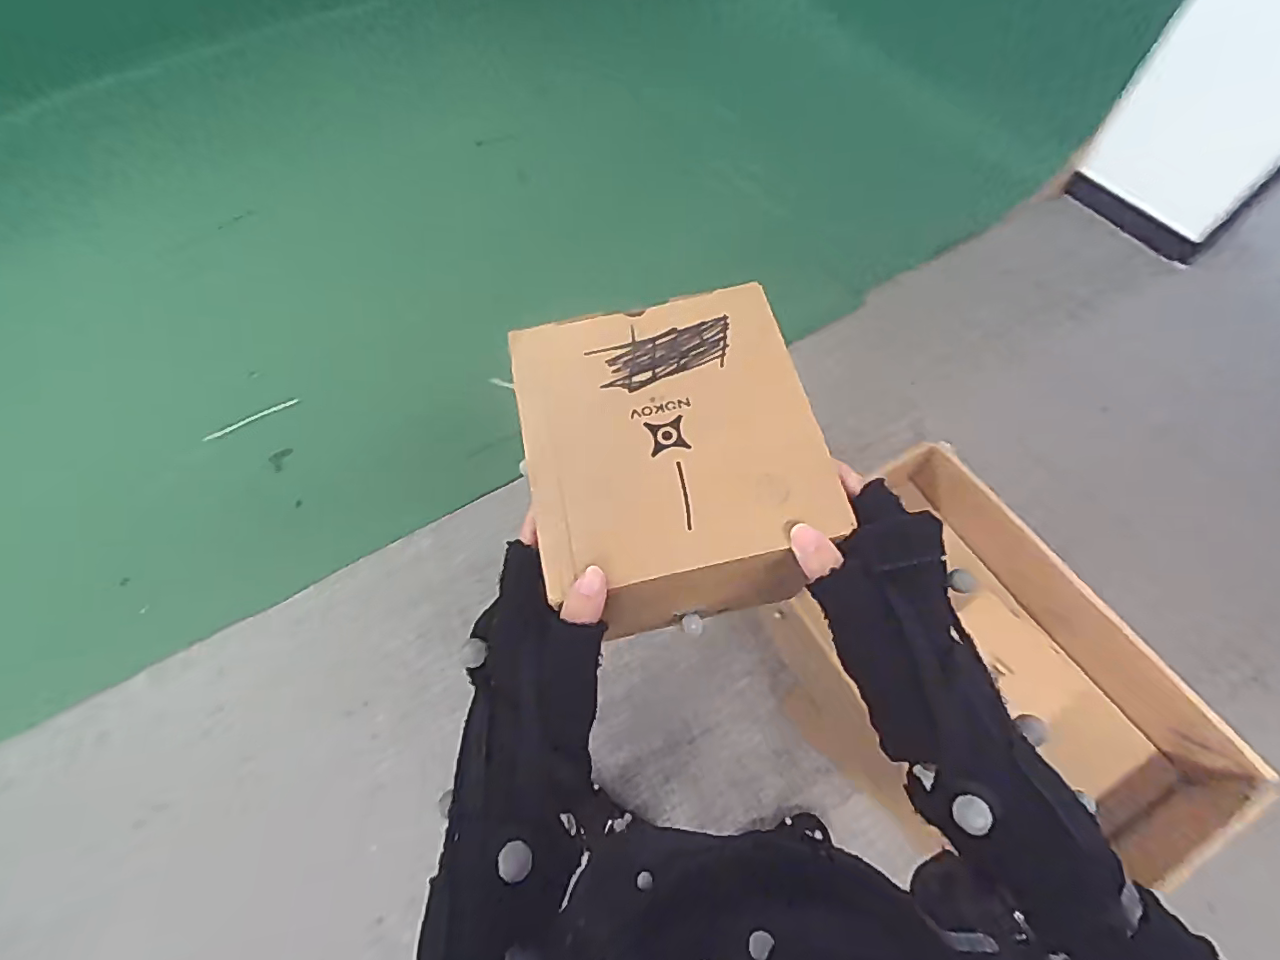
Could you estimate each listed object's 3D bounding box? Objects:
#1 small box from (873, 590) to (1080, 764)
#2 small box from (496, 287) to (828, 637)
[{"bbox_3d":[0.489,0.299,0.818,0.179,0.176,0.168,-34,64,-12],"label":"small box"},{"bbox_3d":[0.008,-0.001,0.390,0.168,0.176,0.179,-14,66,-2],"label":"small box"}]
